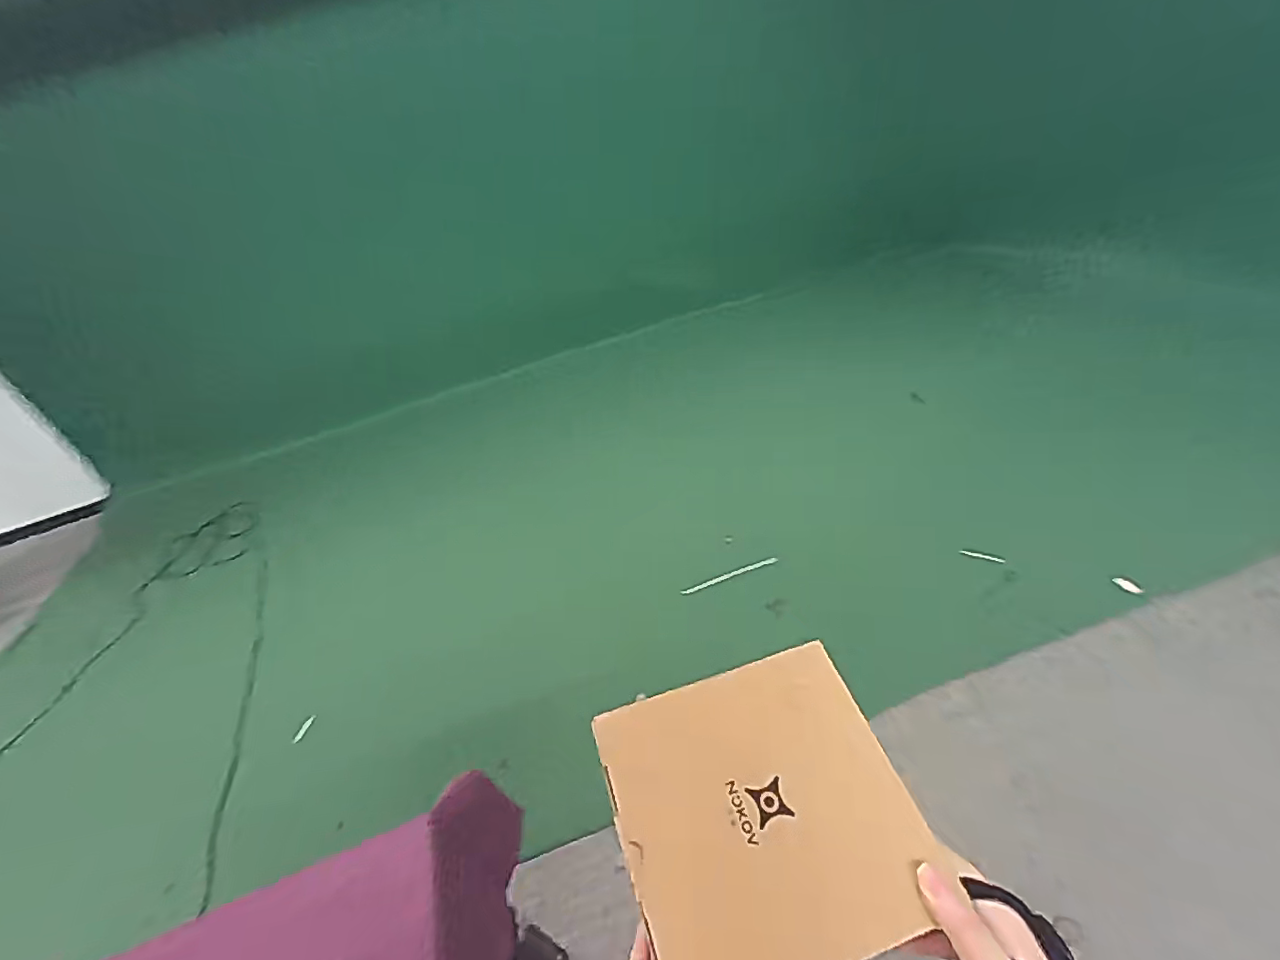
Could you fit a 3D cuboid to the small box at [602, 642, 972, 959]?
[{"bbox_3d":[0.082,0.248,0.392,0.179,0.176,0.168,-16,49,-8],"label":"small box"}]
